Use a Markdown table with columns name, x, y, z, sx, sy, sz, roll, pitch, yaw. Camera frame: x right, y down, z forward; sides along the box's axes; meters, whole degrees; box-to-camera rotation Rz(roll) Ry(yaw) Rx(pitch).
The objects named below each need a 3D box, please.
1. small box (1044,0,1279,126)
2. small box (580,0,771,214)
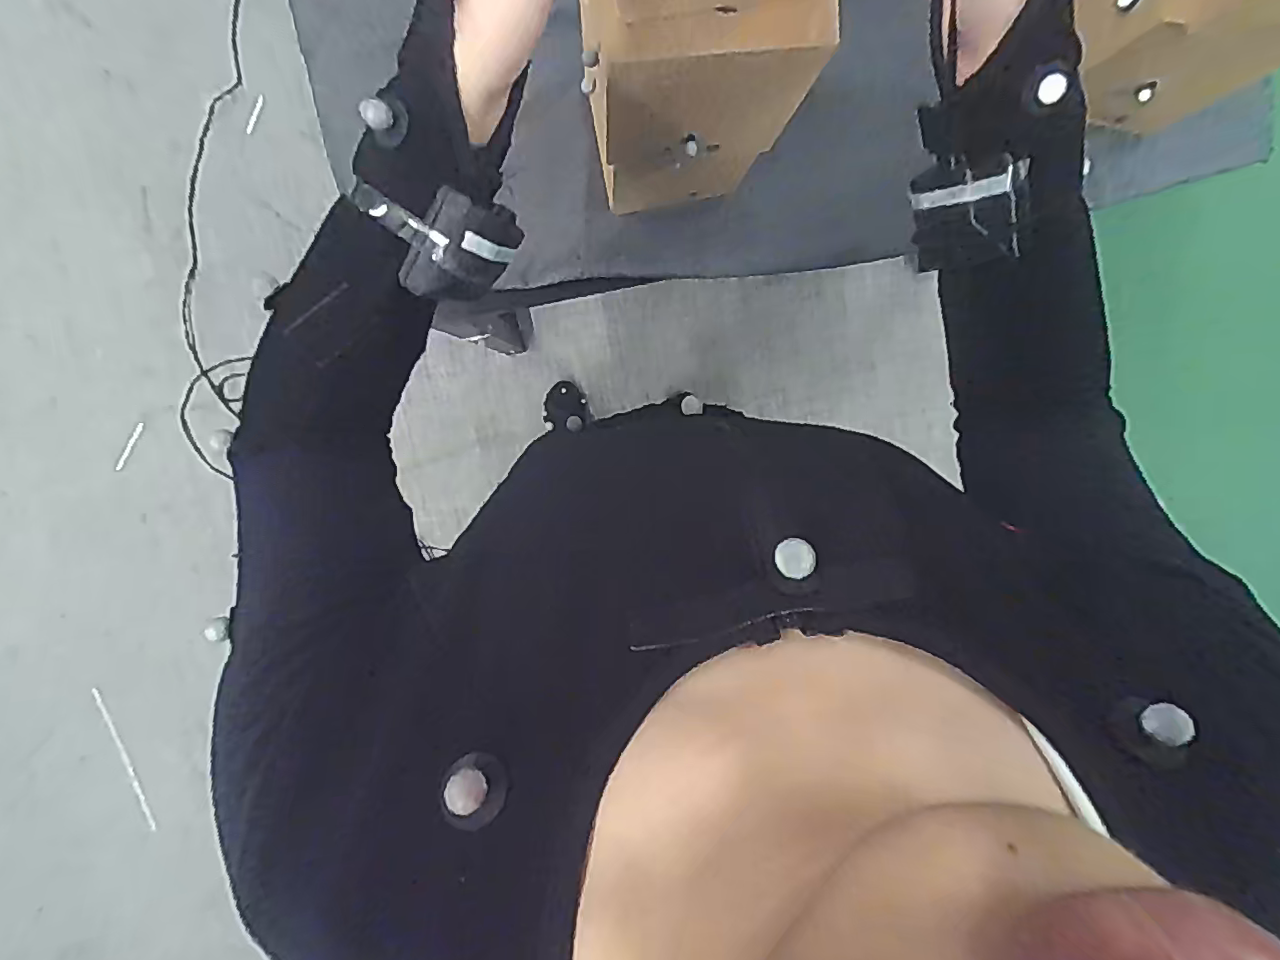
| name | x | y | z | sx | sy | sz | roll | pitch | yaw |
| --- | --- | --- | --- | --- | --- | --- | --- | --- | --- |
| small box | 0.601 | -0.535 | 0.602 | 0.168 | 0.176 | 0.179 | 8 | 96 | -4 |
| small box | 0.029 | -0.424 | 0.596 | 0.168 | 0.176 | 0.179 | -12 | 99 | -1 |
